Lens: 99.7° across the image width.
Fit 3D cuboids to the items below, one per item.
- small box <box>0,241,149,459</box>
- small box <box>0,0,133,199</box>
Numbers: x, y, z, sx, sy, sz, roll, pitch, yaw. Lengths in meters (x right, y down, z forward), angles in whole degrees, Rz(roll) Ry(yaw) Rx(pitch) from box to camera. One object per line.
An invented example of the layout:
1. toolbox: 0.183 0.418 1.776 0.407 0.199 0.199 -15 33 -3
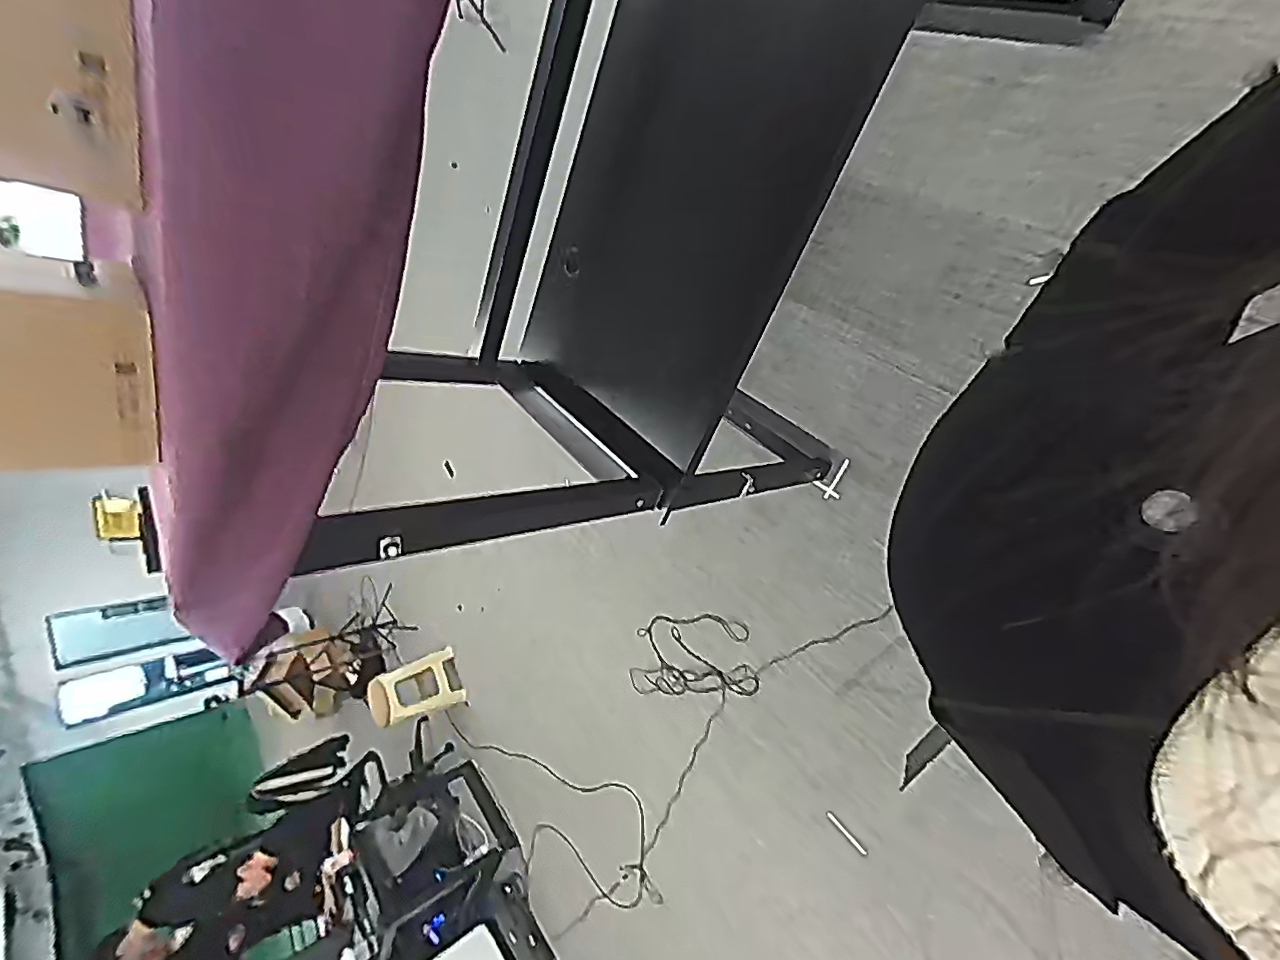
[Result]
1. small box: -0.582 -0.122 0.508 0.179 0.176 0.168 35 118 37
2. small box: -0.515 -0.341 0.417 0.179 0.176 0.168 42 123 32
